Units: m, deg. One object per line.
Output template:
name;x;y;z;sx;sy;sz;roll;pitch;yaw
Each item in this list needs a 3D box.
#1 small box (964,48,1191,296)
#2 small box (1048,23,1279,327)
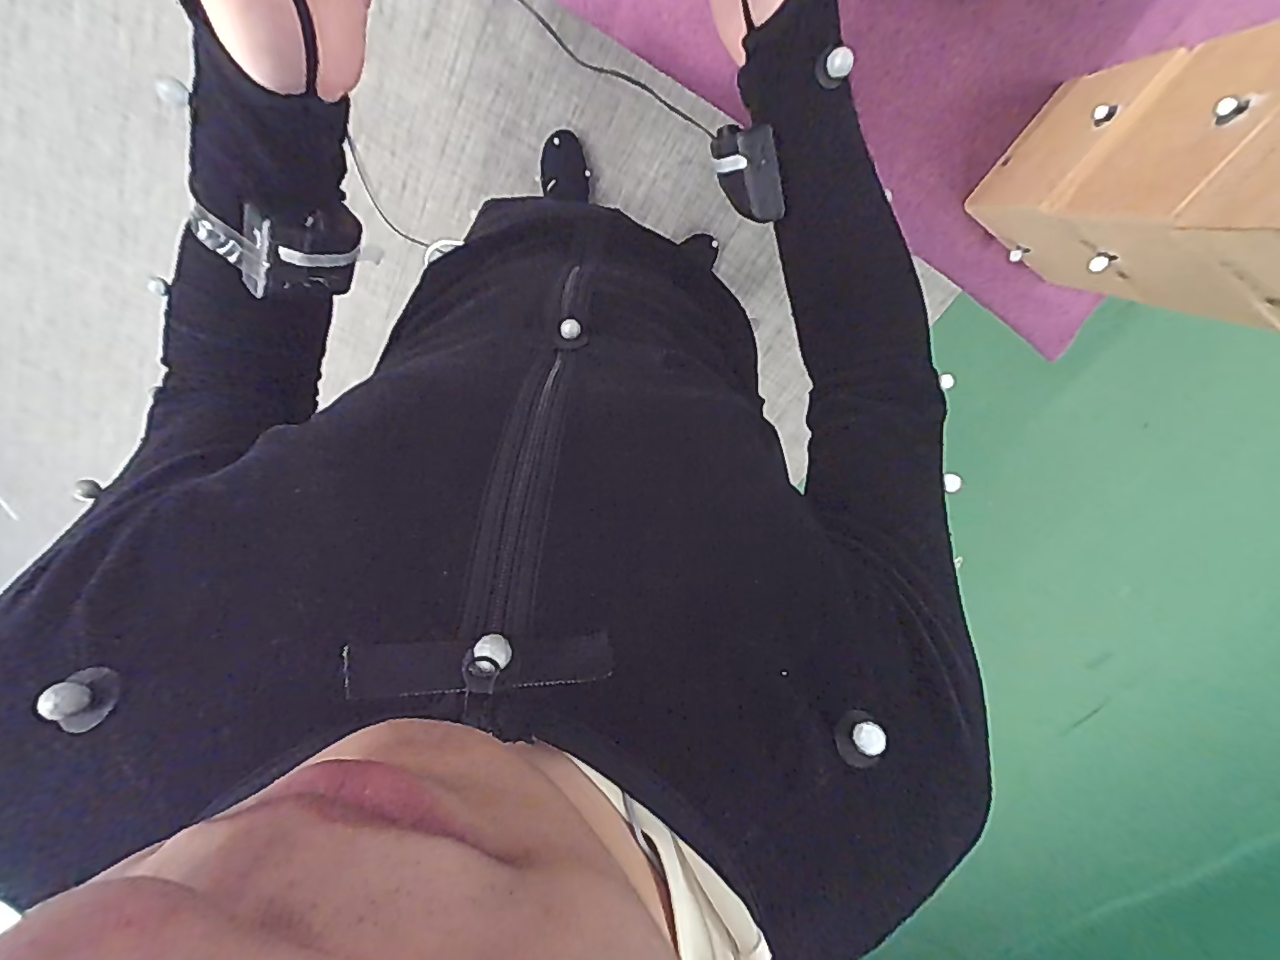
small box;0.535;-0.348;0.632;0.179;0.176;0.168;31;114;-14
small box;0.534;-0.272;0.486;0.168;0.176;0.179;31;115;-13
